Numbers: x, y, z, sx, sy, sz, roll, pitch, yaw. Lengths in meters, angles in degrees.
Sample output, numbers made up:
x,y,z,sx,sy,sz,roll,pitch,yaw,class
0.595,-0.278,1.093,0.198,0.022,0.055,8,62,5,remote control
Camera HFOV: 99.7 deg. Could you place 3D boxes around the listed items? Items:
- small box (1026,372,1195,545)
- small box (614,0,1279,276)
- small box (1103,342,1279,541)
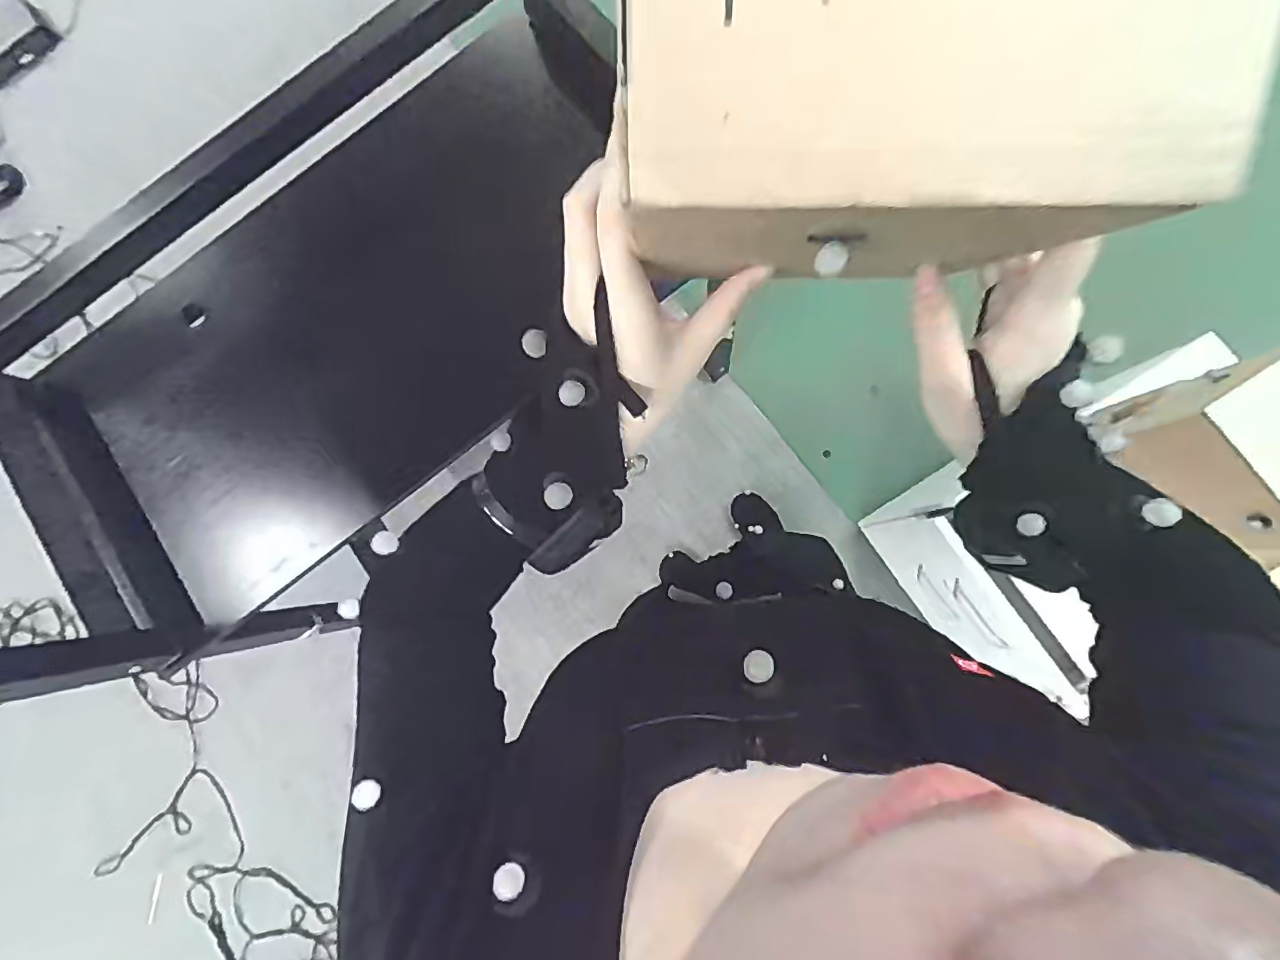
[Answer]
x,y,z,sx,sy,sz,roll,pitch,yaw,class
0.717,-0.018,0.780,0.168,0.176,0.179,-35,80,1,small box
0.084,-0.177,0.212,0.179,0.176,0.168,1,104,1,small box
0.702,-0.041,0.618,0.168,0.176,0.179,-33,82,0,small box
